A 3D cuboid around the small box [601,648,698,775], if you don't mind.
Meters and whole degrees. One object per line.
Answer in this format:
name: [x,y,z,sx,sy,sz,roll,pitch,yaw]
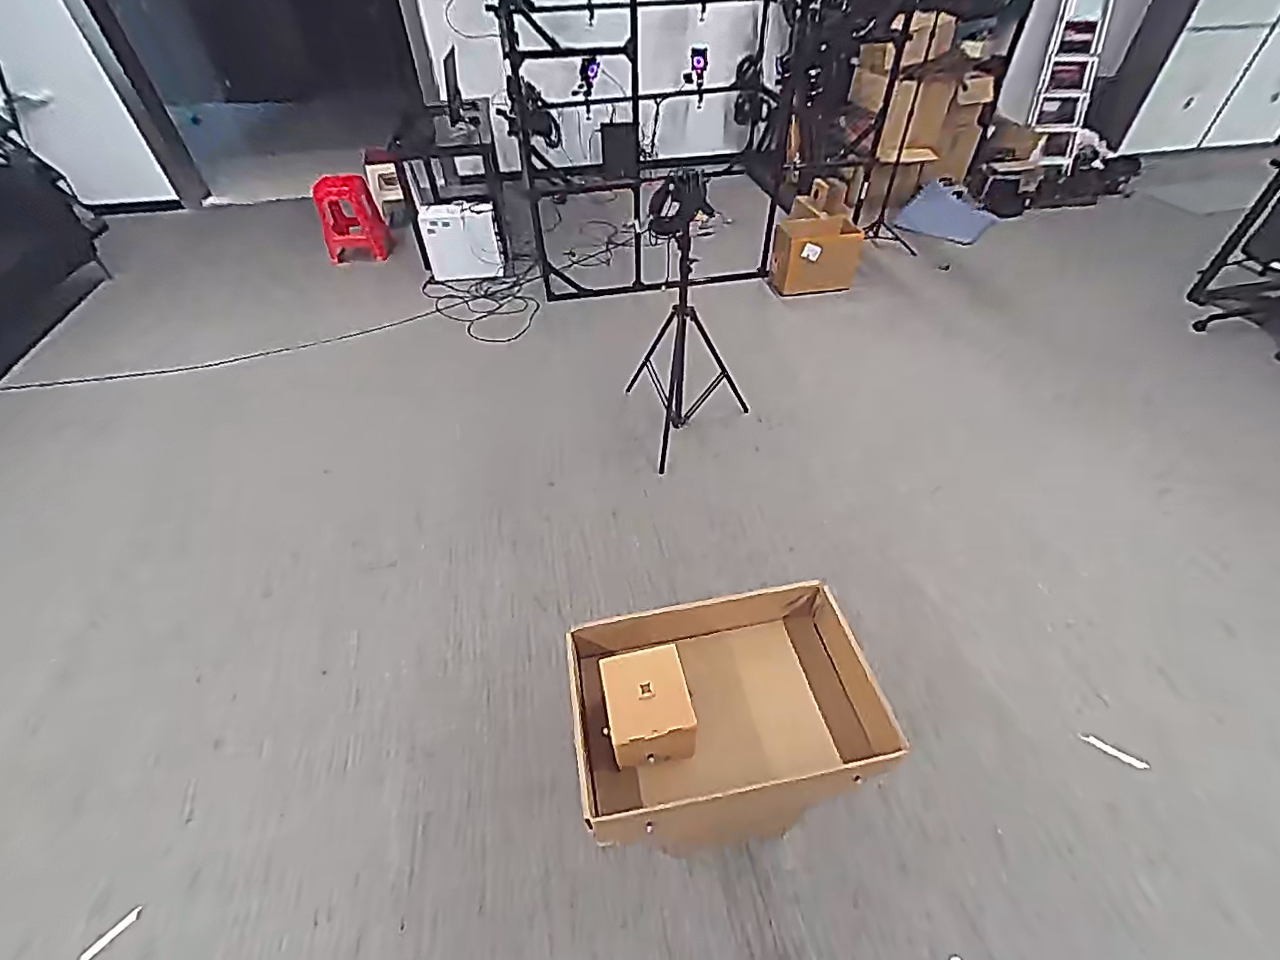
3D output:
small box: [0.016,0.482,1.127,0.168,0.176,0.179,-11,46,-7]
